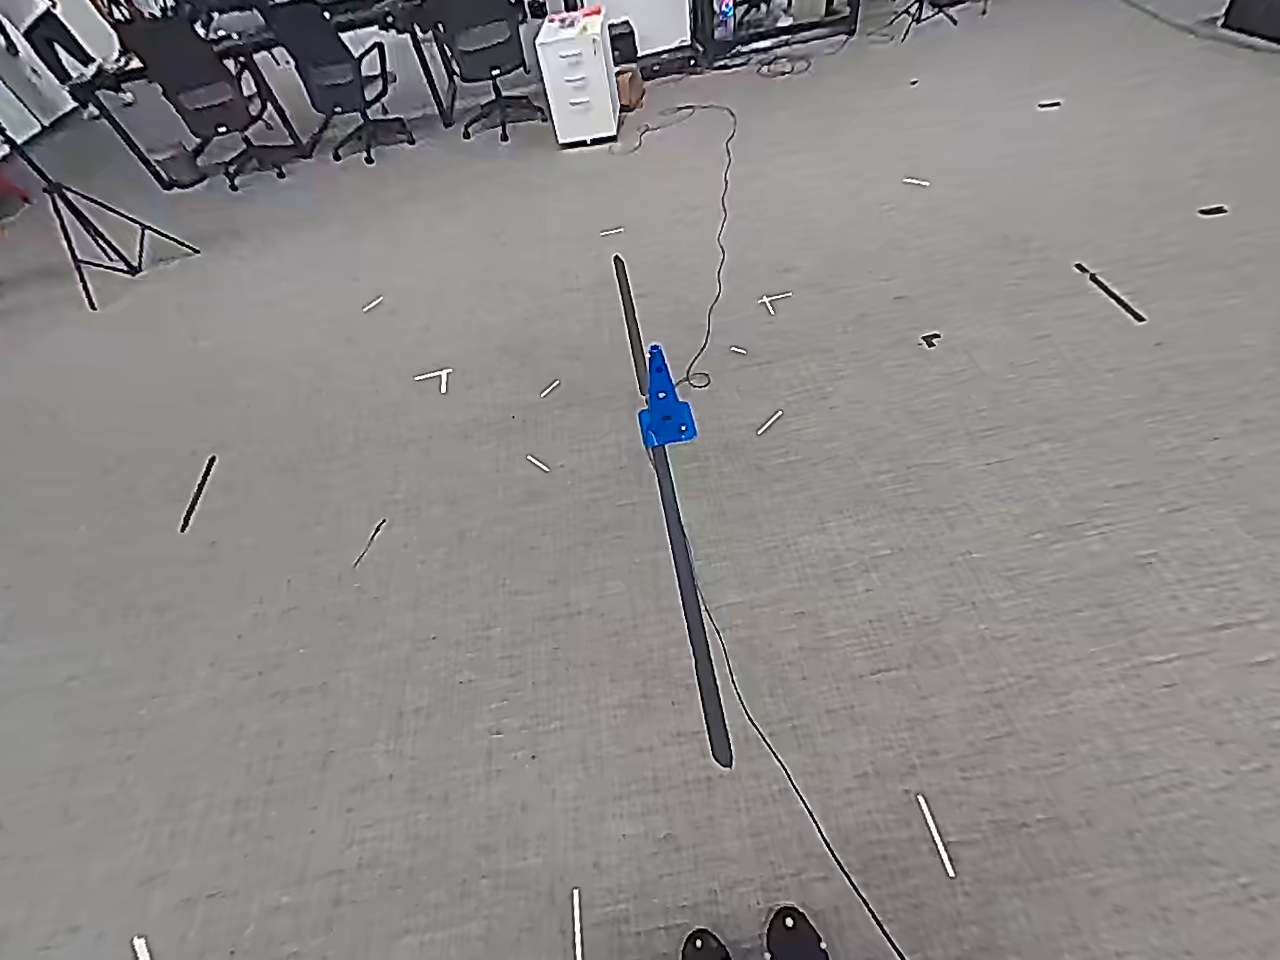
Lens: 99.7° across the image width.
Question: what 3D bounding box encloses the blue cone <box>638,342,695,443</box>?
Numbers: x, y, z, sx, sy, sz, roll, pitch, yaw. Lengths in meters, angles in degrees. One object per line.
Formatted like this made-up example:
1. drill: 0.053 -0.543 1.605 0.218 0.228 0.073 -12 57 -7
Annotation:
1. blue cone: 0.072 -0.322 1.876 0.193 0.380 0.192 -12 51 0
